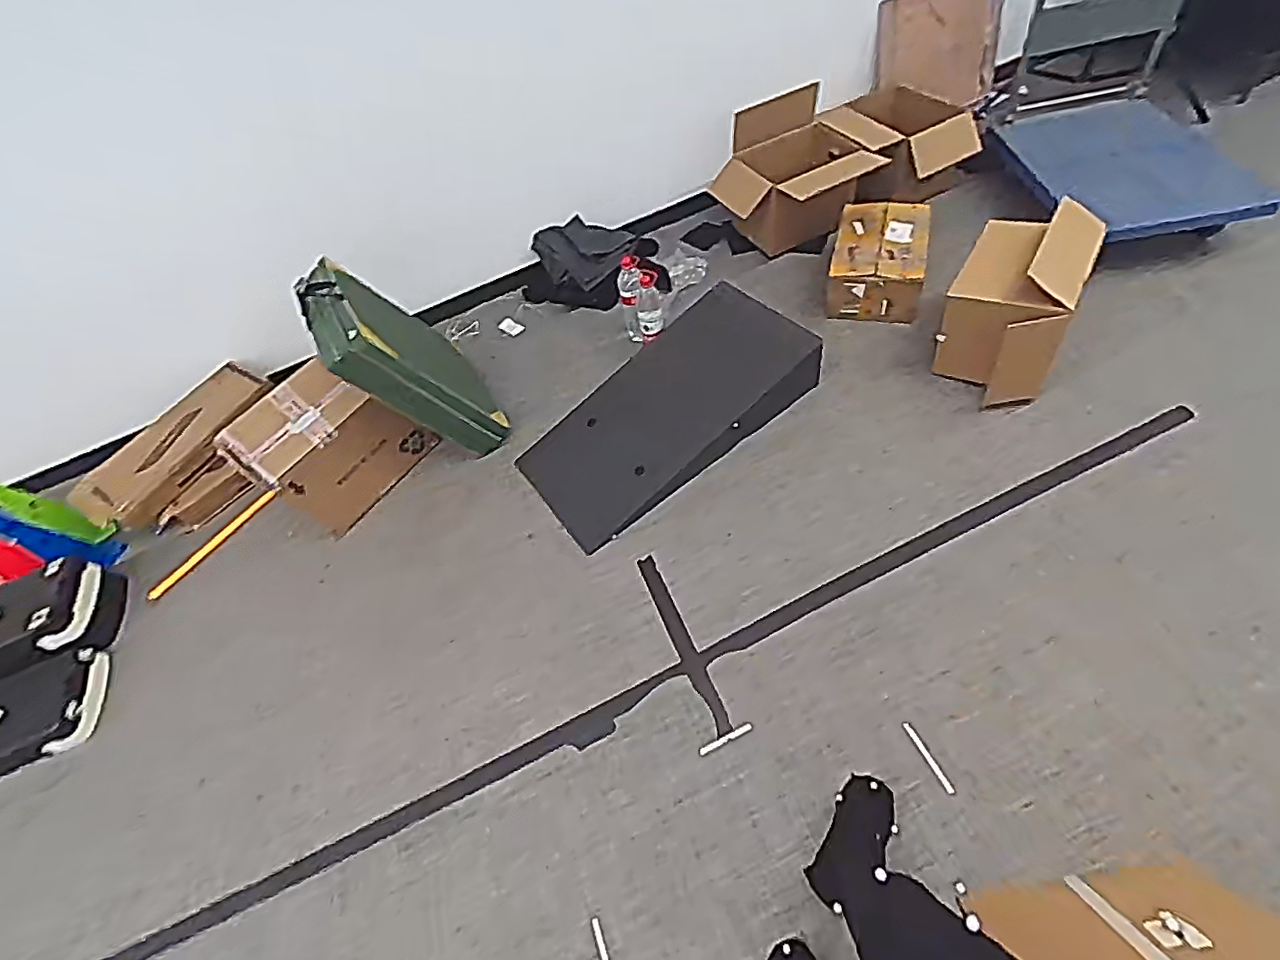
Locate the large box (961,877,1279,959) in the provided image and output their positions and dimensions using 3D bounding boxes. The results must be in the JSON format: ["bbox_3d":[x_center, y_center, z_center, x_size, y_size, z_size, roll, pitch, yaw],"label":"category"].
[{"bbox_3d":[0.618,0.700,0.548,0.320,0.408,0.320,-14,77,6],"label":"large box"}]
